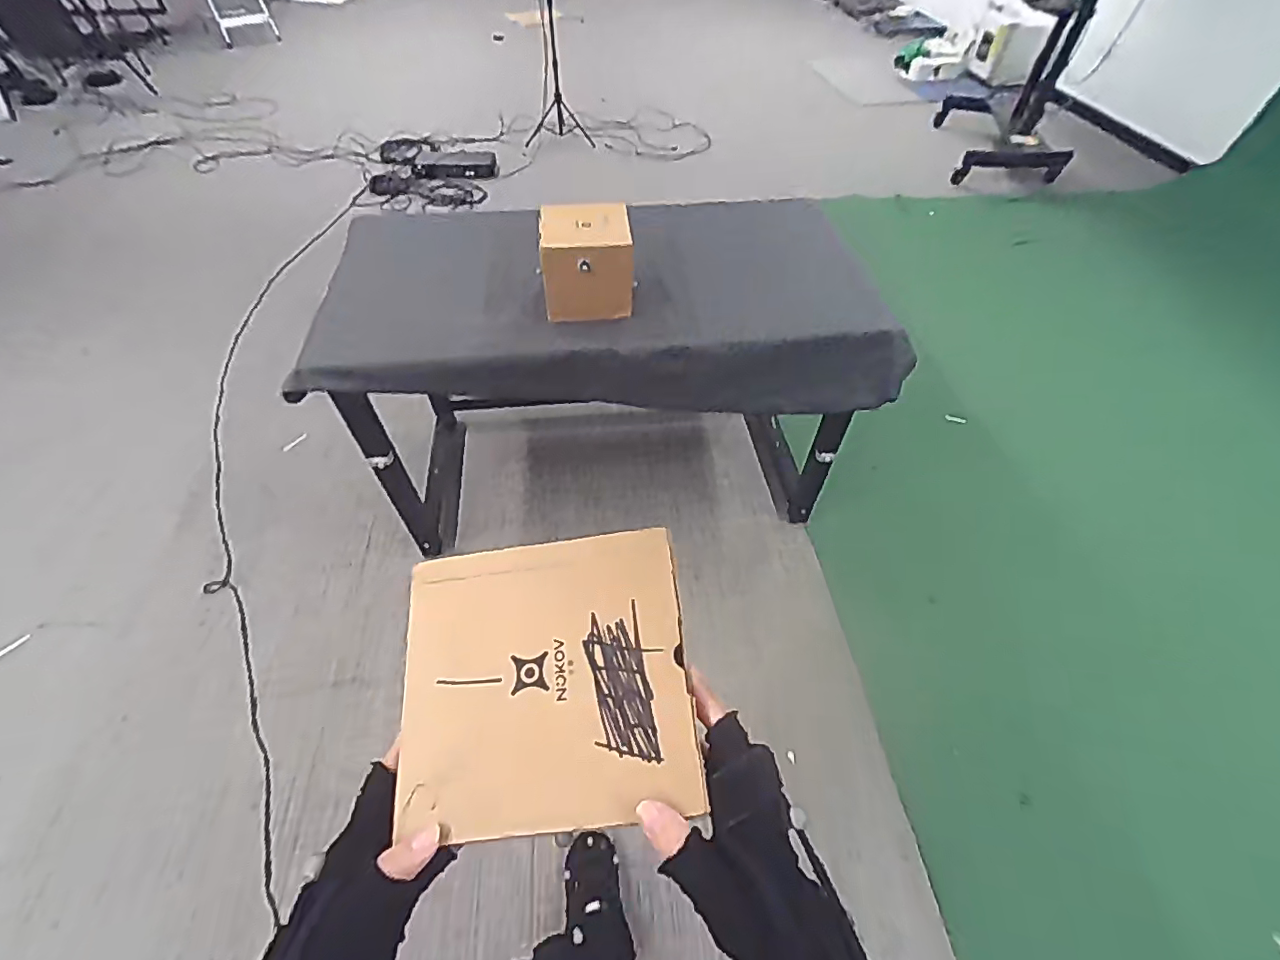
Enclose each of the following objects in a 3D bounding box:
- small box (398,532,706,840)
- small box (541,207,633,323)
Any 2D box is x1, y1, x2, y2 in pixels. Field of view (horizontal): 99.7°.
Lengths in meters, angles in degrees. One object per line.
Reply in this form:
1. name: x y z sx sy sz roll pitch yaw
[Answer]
1. small box: -0.050 0.150 0.404 0.179 0.176 0.168 -8 65 3
2. small box: -0.107 -0.440 1.118 0.179 0.176 0.168 -3 52 -5
